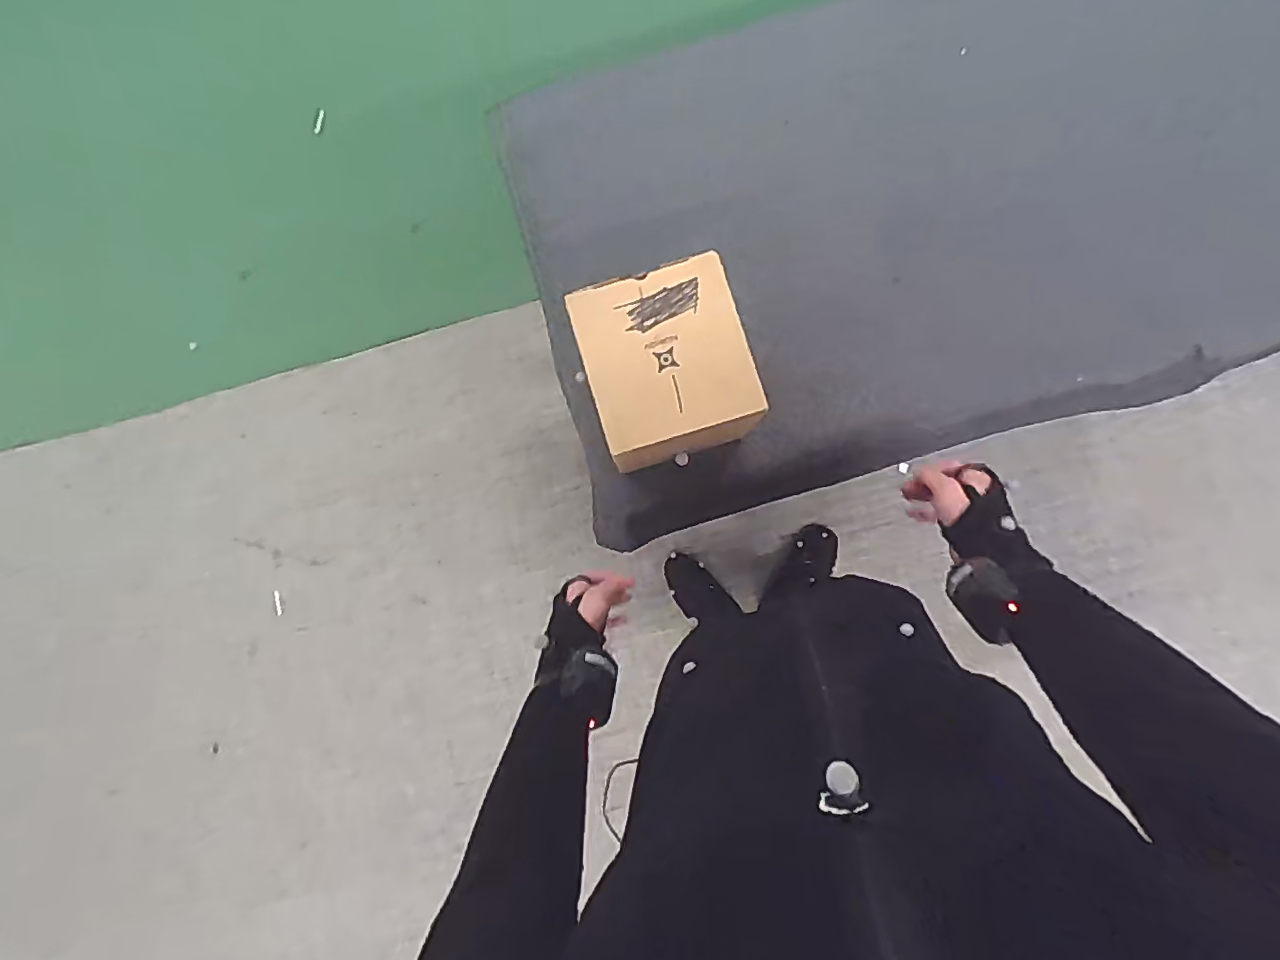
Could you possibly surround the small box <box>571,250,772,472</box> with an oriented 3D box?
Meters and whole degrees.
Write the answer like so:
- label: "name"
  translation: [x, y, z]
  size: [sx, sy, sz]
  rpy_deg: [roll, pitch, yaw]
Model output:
- label: "small box"
  translation: [0.031, -0.121, 0.614]
  size: [0.168, 0.176, 0.179]
  rpy_deg: [-17, 84, 0]
